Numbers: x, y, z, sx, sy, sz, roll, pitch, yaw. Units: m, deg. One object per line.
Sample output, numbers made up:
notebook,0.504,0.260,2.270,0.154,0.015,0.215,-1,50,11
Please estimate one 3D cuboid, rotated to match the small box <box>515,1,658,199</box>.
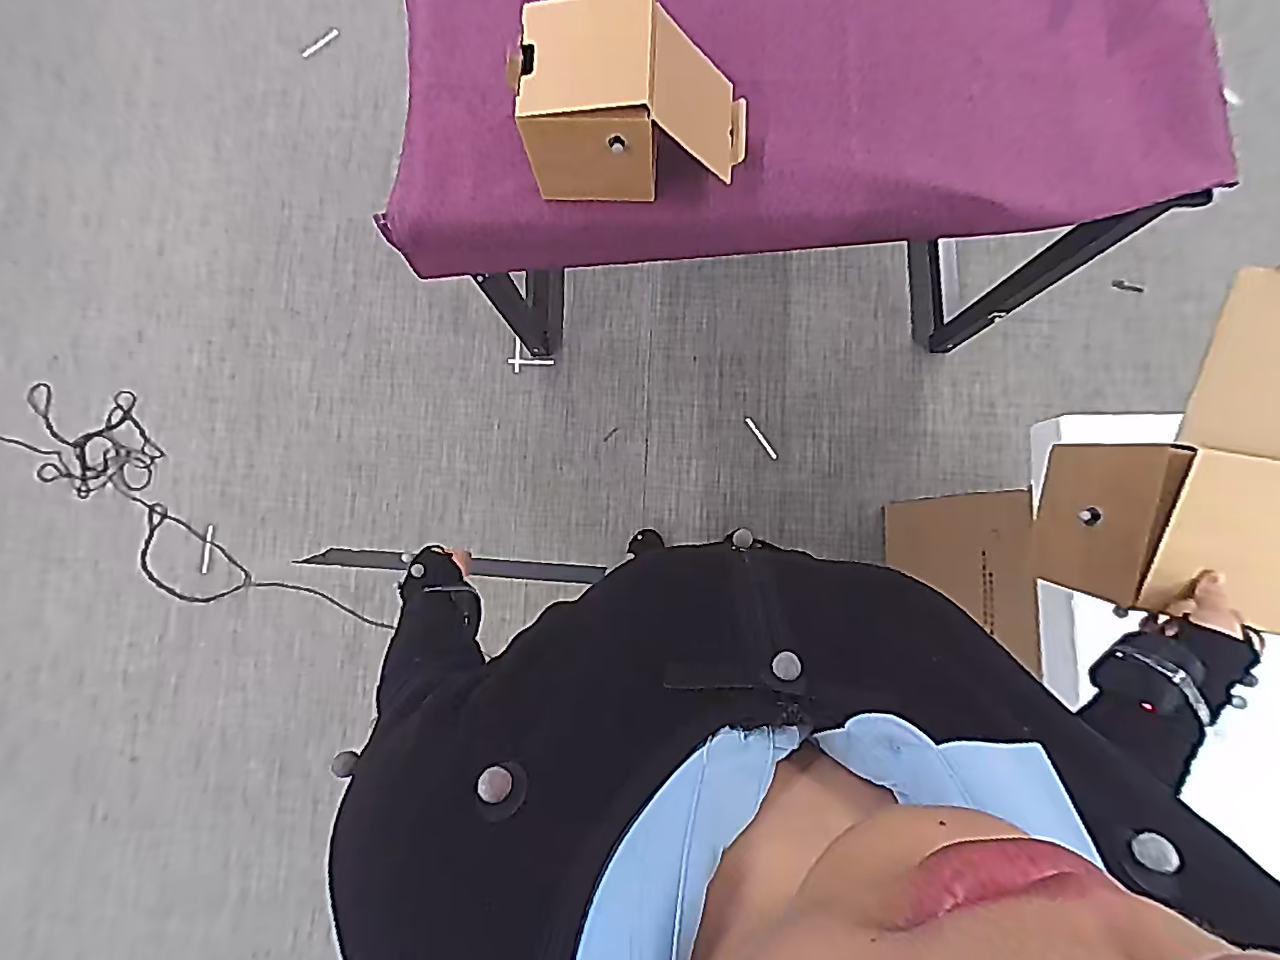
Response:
small box,-0.065,-0.526,0.769,0.179,0.176,0.168,2,83,4
